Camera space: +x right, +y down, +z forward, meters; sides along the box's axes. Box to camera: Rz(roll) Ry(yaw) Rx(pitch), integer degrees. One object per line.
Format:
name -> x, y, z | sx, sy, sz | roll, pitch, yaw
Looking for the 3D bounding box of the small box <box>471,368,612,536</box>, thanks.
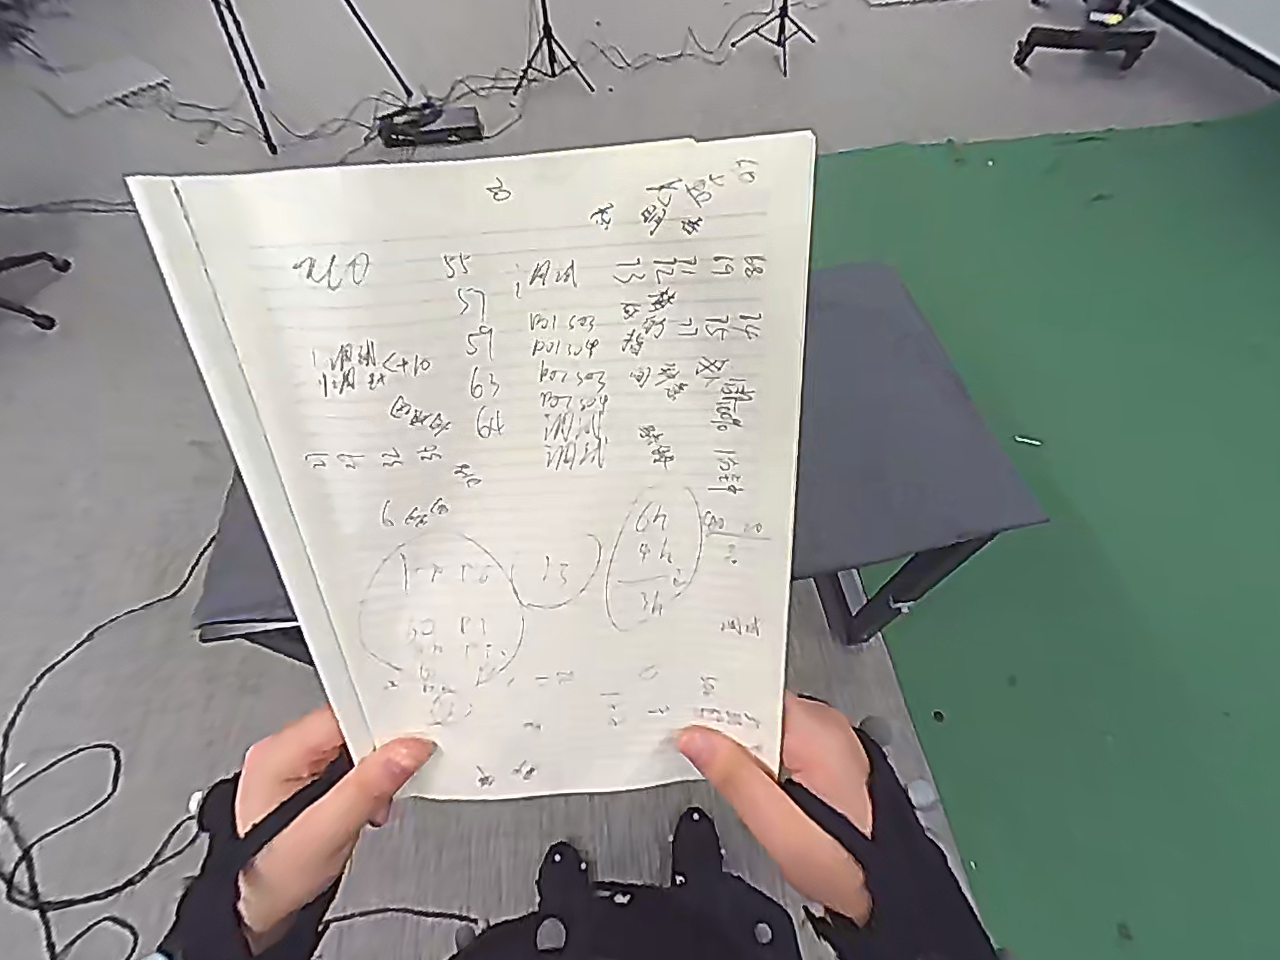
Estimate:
small box -> -0.131, -0.037, 0.781 | 0.168, 0.176, 0.179 | -5, 58, 0
